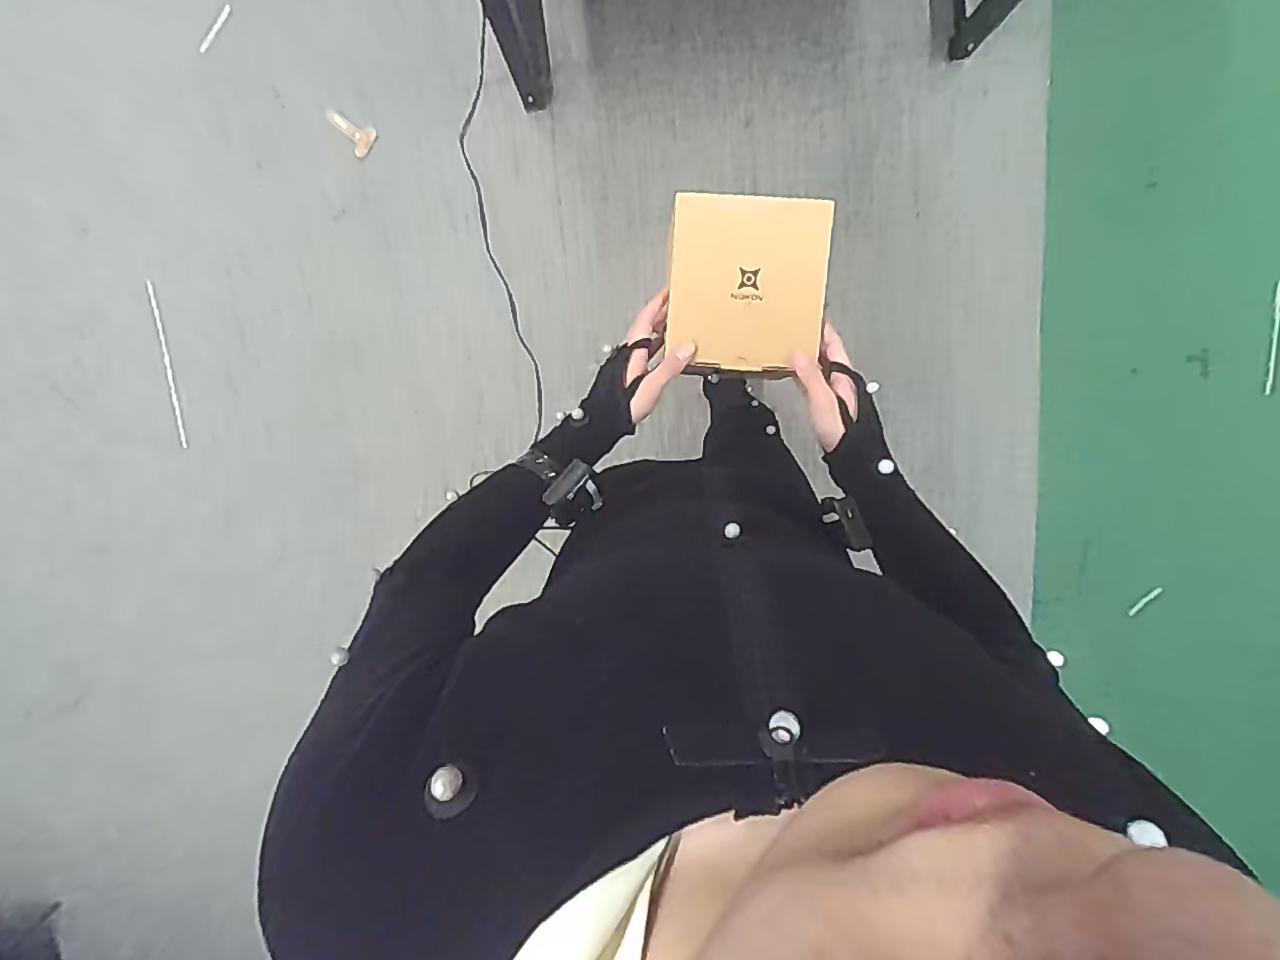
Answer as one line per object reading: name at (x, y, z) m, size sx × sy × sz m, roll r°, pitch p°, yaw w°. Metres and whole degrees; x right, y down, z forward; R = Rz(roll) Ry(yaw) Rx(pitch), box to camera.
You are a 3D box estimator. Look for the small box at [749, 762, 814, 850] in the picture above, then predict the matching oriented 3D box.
small box at (0.429, 0.995, 1.664) m, size 0.168 × 0.176 × 0.179 m, roll -2°, pitch 99°, yaw 2°
